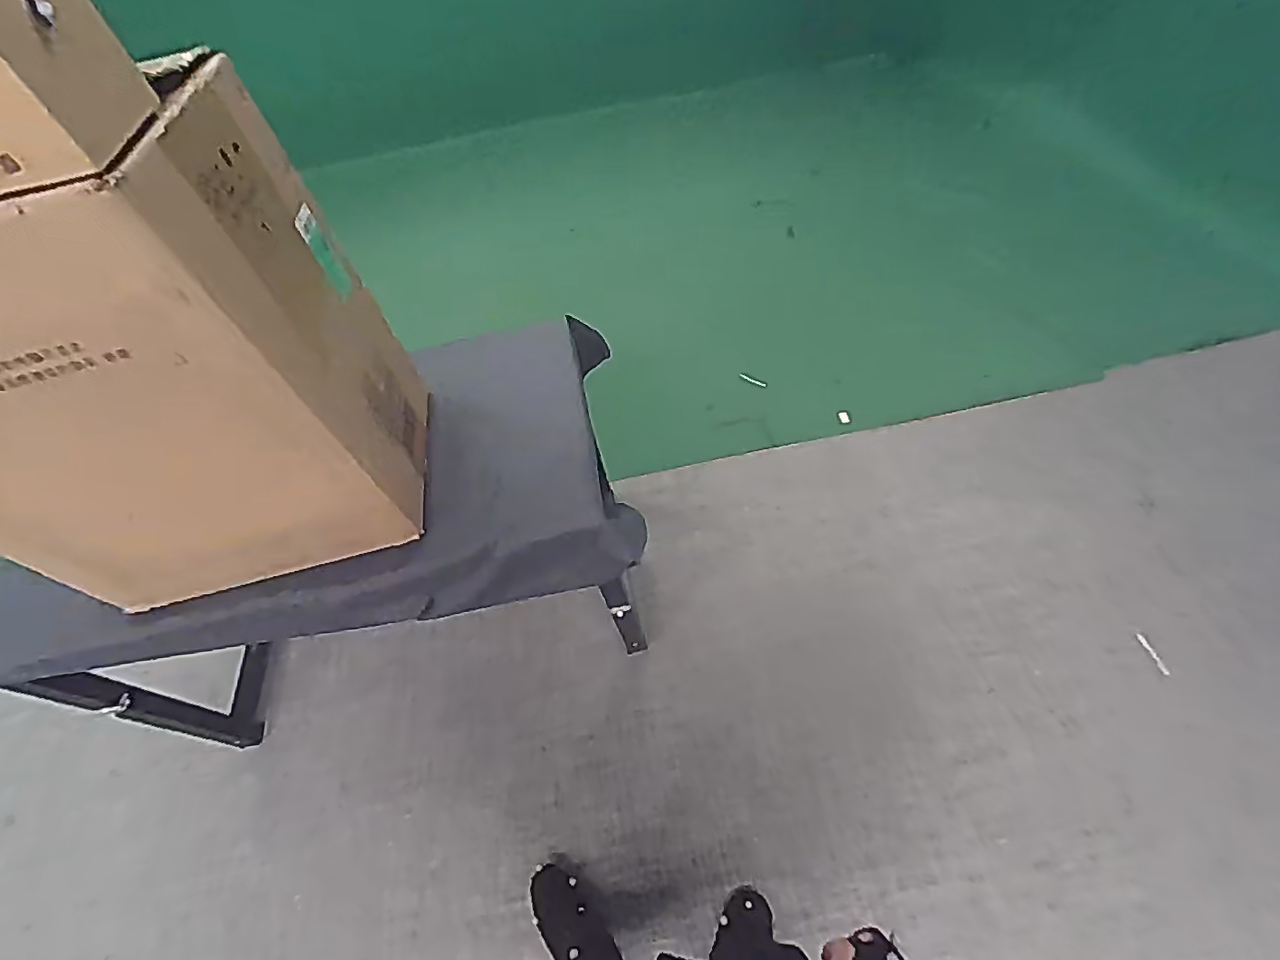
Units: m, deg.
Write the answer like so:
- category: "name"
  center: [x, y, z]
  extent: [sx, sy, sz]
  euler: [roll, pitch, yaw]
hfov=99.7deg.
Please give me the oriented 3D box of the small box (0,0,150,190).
- category: "small box"
  center: [-0.573, -0.364, 0.451]
  extent: [0.168, 0.176, 0.179]
  euler: [-14, 55, -2]
